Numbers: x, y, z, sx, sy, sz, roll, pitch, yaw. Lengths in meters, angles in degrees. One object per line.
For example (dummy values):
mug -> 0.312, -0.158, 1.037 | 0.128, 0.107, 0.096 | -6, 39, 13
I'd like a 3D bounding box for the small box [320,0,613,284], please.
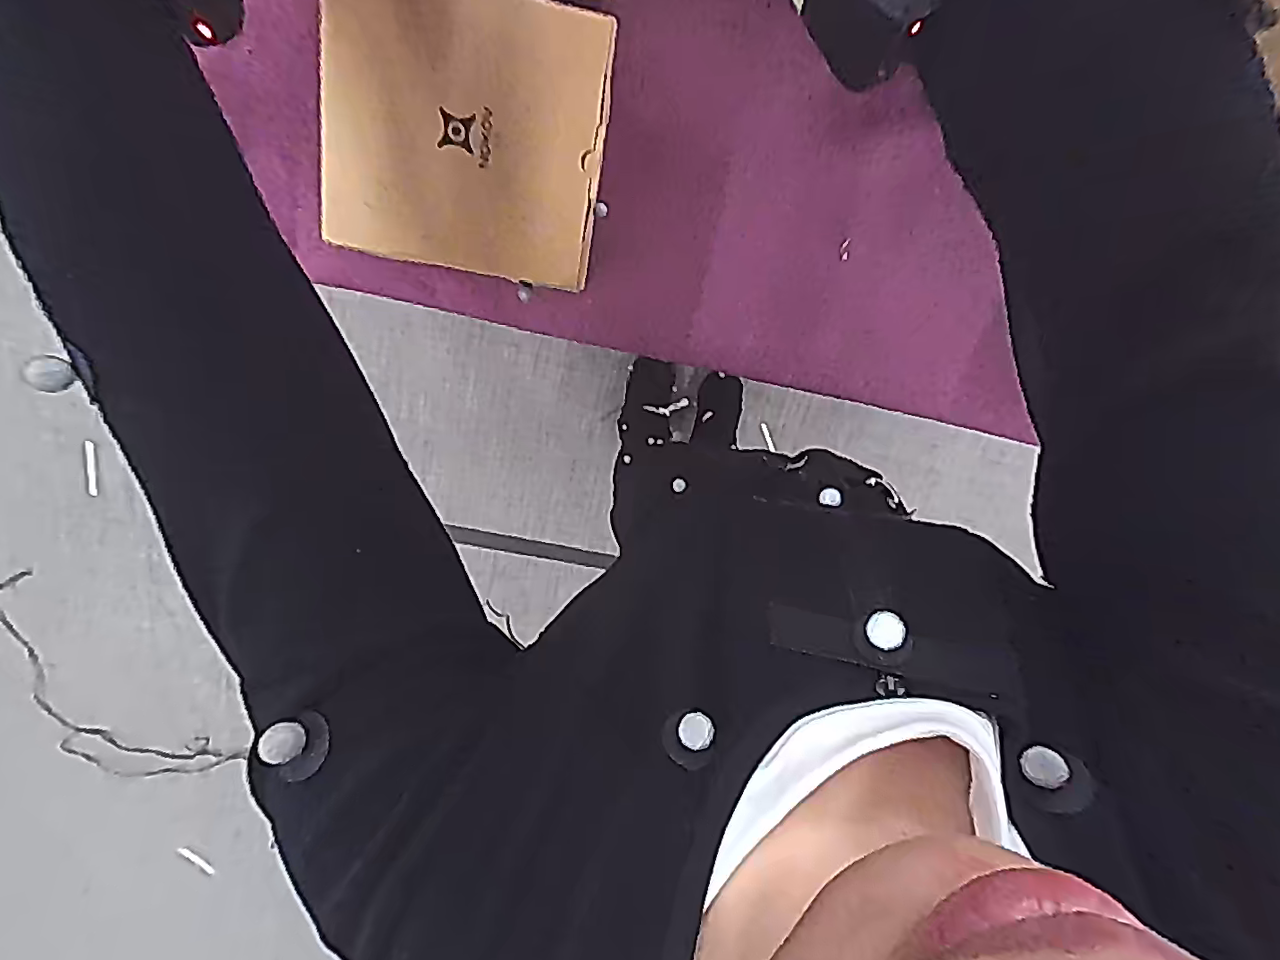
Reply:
small box -> -0.123, -0.254, 0.428 | 0.179, 0.176, 0.168 | 7, 108, -9
